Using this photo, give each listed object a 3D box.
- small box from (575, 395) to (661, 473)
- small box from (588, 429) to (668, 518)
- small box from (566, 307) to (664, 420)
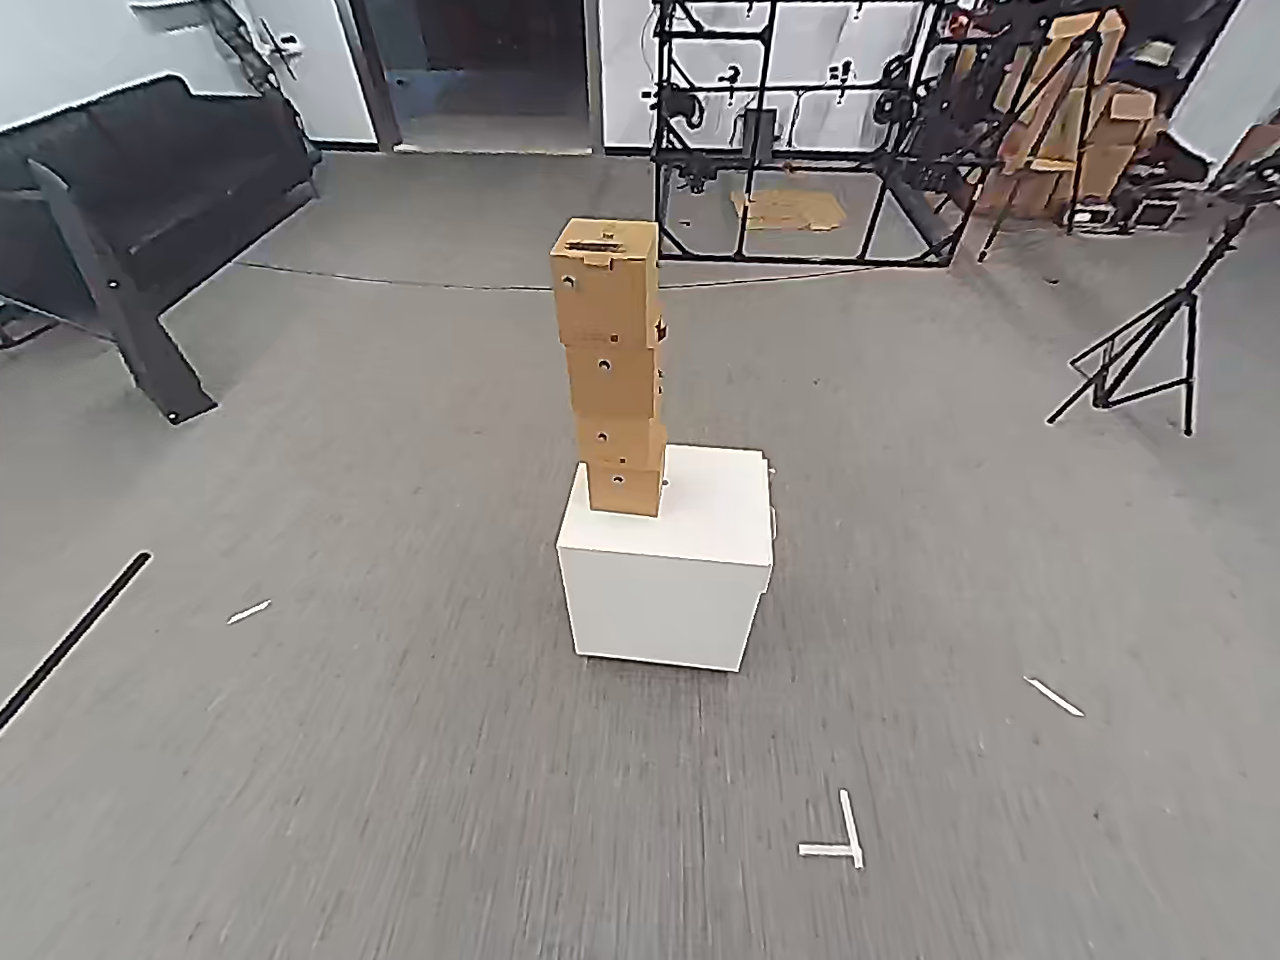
[{"bbox_3d":[-0.043,-0.136,1.254,0.168,0.176,0.179,7,45,7],"label":"small box"},{"bbox_3d":[-0.027,-0.021,1.368,0.179,0.176,0.168,7,46,5],"label":"small box"},{"bbox_3d":[-0.045,-0.242,1.127,0.179,0.176,0.168,5,46,5],"label":"small box"}]
